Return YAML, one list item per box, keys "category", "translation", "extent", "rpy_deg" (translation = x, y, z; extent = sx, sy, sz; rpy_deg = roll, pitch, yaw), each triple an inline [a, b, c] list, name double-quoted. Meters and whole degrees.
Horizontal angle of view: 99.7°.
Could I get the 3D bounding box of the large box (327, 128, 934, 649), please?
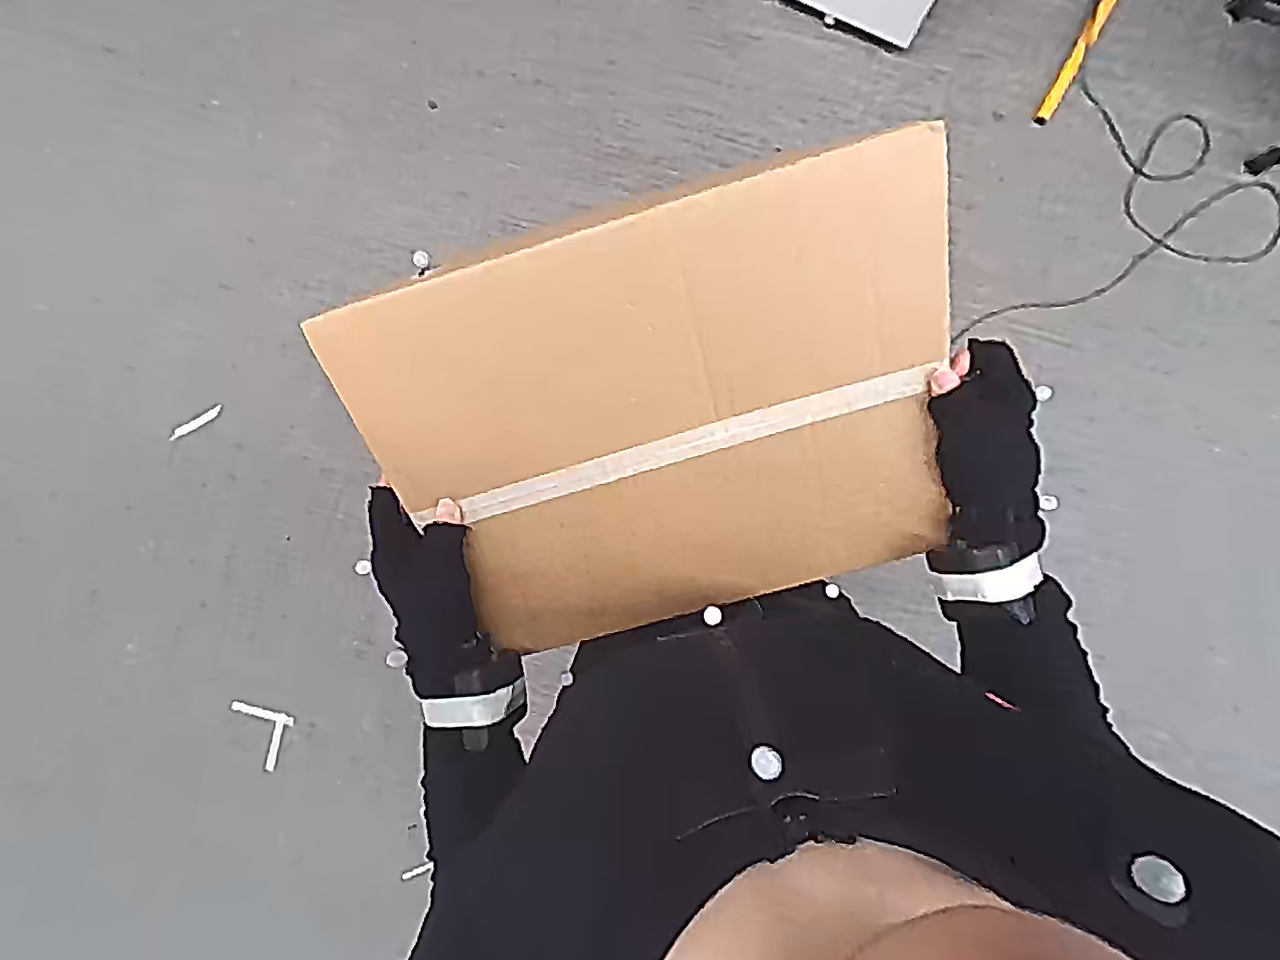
- category: "large box"
  translation: [0.009, -0.096, 0.542]
  extent: [0.408, 0.320, 0.320]
  rpy_deg: [-16, 119, 4]
